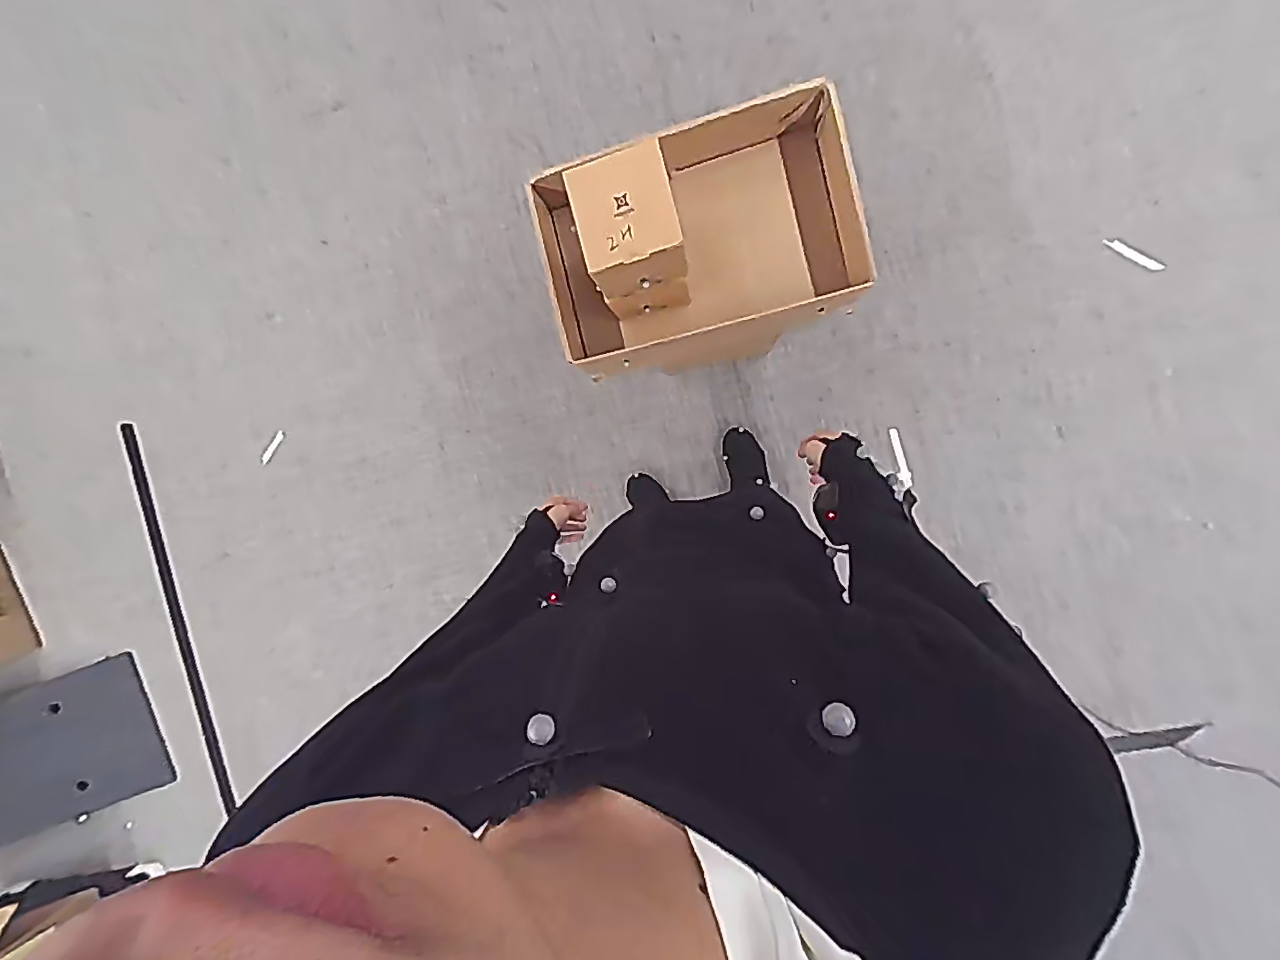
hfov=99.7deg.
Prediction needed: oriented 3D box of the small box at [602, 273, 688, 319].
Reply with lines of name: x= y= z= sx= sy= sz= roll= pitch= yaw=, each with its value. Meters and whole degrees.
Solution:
small box: x=0.000 y=-0.456 z=1.123 sx=0.168 sy=0.176 sz=0.179 roll=-14 pitch=92 yaw=8

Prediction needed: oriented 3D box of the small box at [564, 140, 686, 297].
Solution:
small box: x=-0.018 y=-0.450 z=0.960 sx=0.168 sy=0.176 sz=0.179 roll=-15 pitch=92 yaw=9
